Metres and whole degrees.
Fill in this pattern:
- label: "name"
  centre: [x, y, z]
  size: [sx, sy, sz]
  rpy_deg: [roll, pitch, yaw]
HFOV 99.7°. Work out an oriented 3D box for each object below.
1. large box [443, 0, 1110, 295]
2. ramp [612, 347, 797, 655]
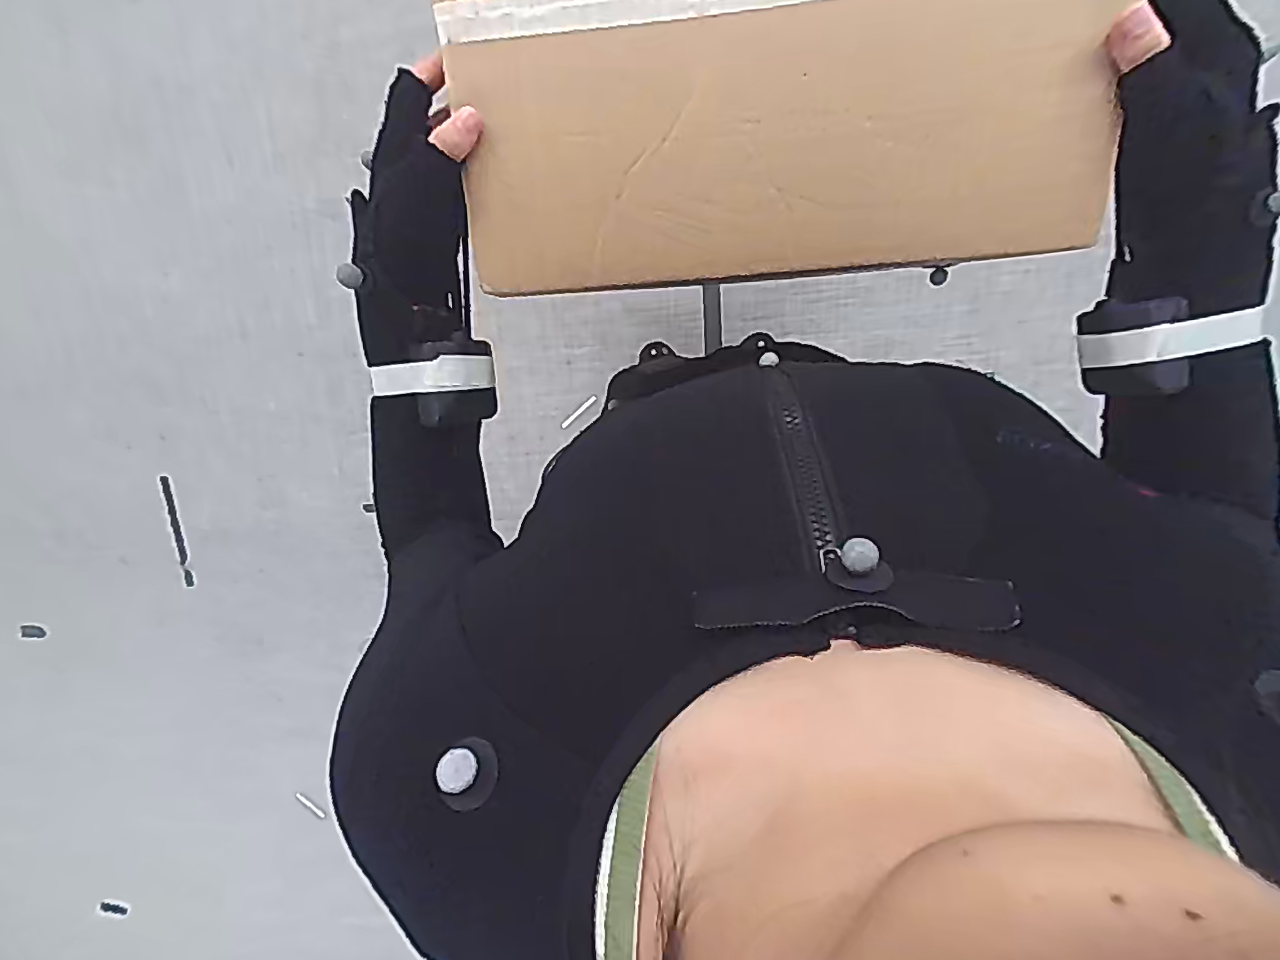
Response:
- label: "large box"
  centre: [0.085, -0.340, 0.461]
  size: [0.408, 0.320, 0.320]
  rpy_deg: [-3, 109, 4]
- label: "ramp"
  centre: [0.213, 0.120, 1.616]
  size: [0.509, 0.206, 0.991]
  rpy_deg: [-5, 104, 4]
